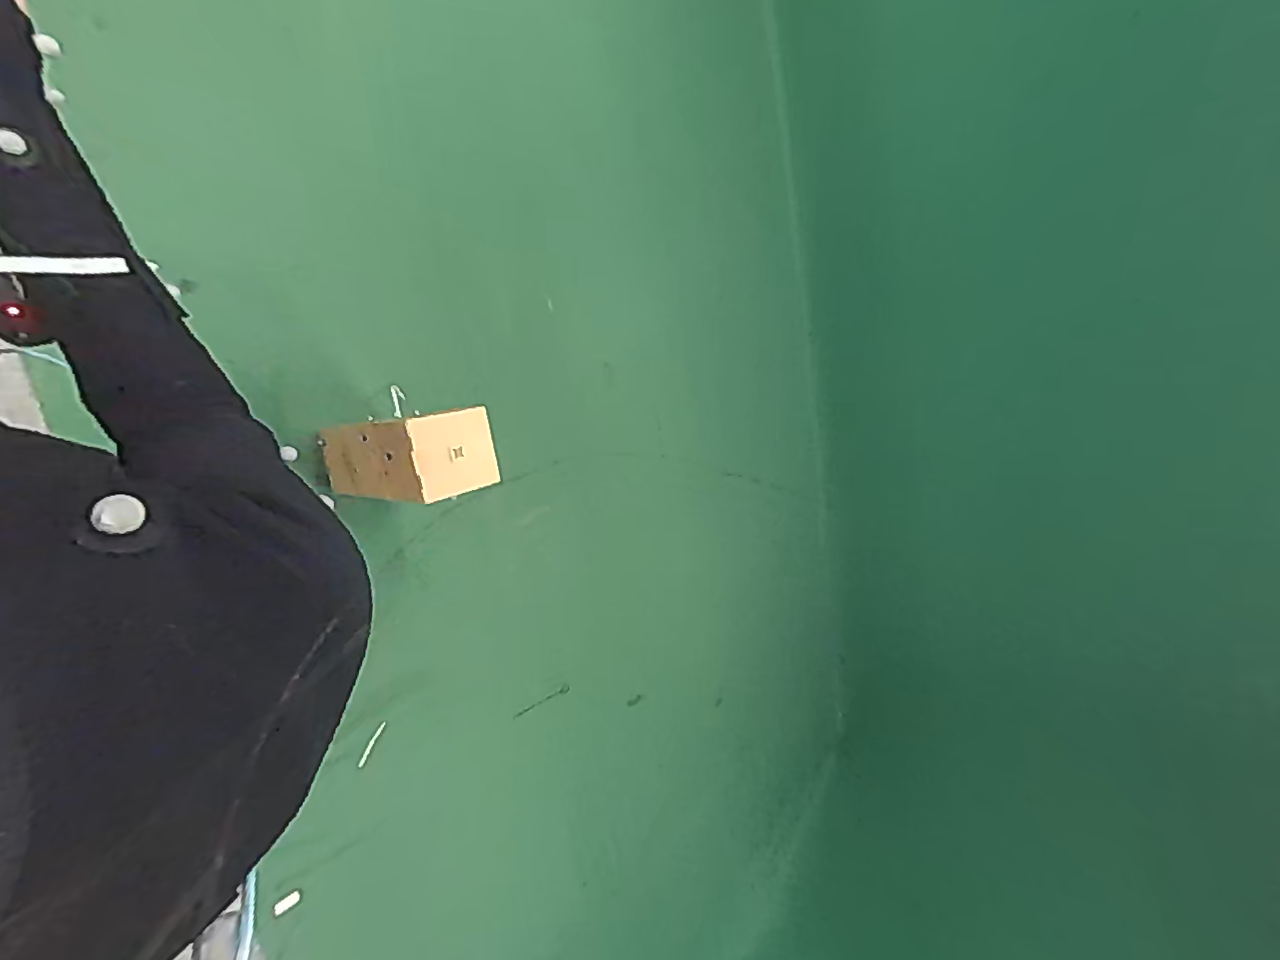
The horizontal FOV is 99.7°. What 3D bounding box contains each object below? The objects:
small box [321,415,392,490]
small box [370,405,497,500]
[{"bbox_3d":[-0.677,-0.072,1.360,0.179,0.176,0.168,-18,105,-46],"label":"small box"},{"bbox_3d":[-0.434,-0.064,1.139,0.179,0.176,0.168,-21,107,-45],"label":"small box"}]
